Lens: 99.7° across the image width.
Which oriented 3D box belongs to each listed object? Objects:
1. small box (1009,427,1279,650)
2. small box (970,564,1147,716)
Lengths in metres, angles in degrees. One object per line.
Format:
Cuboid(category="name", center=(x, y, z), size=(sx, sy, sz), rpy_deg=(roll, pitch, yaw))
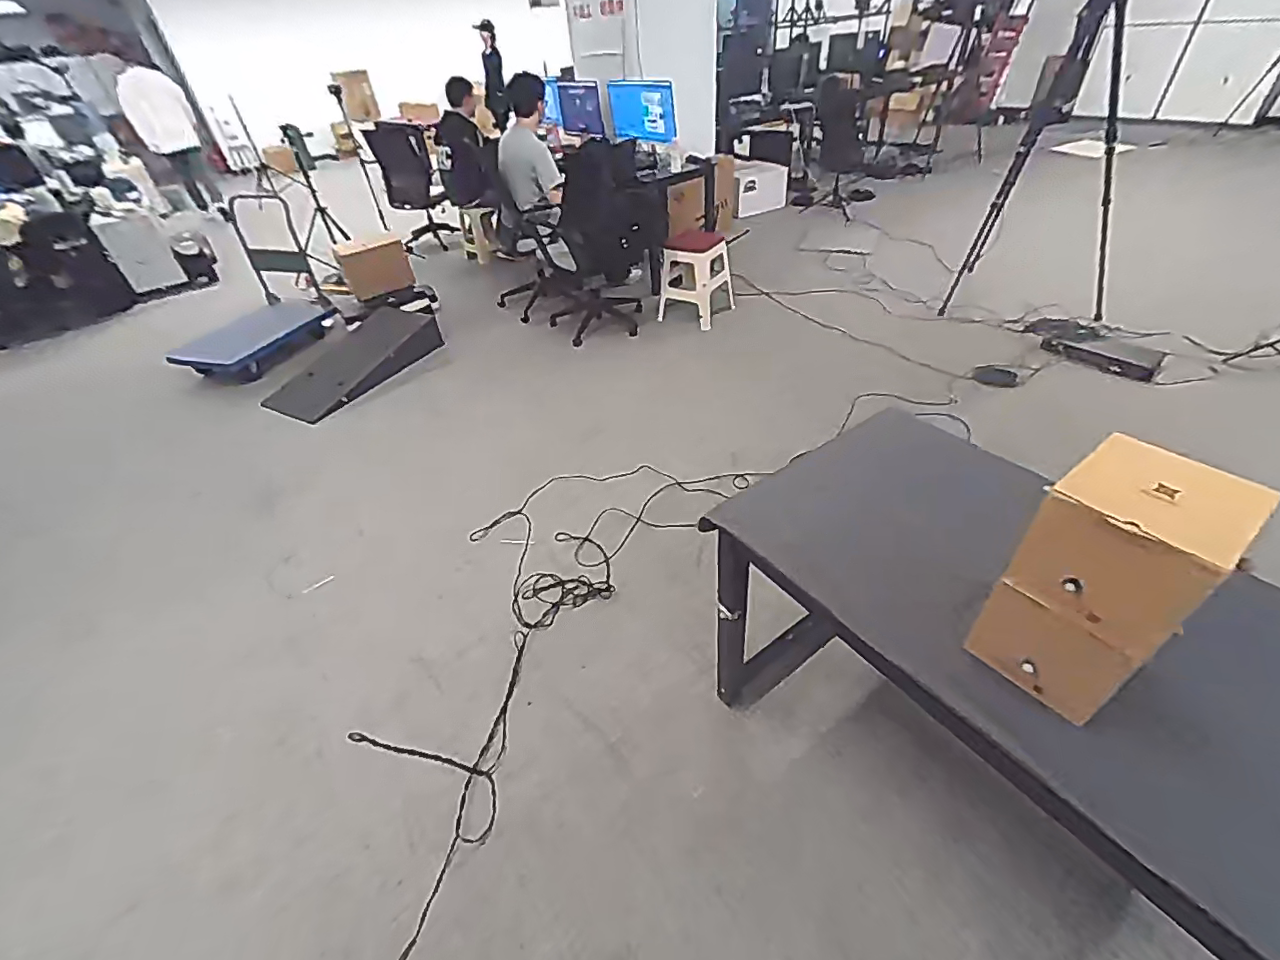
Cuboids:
Cuboid(category="small box", center=(0.598, 0.068, 0.664), size=(0.179, 0.176, 0.168), rpy_deg=(-29, 45, -25))
Cuboid(category="small box", center=(0.610, 0.191, 0.769), size=(0.179, 0.176, 0.168), rpy_deg=(-28, 44, -25))
